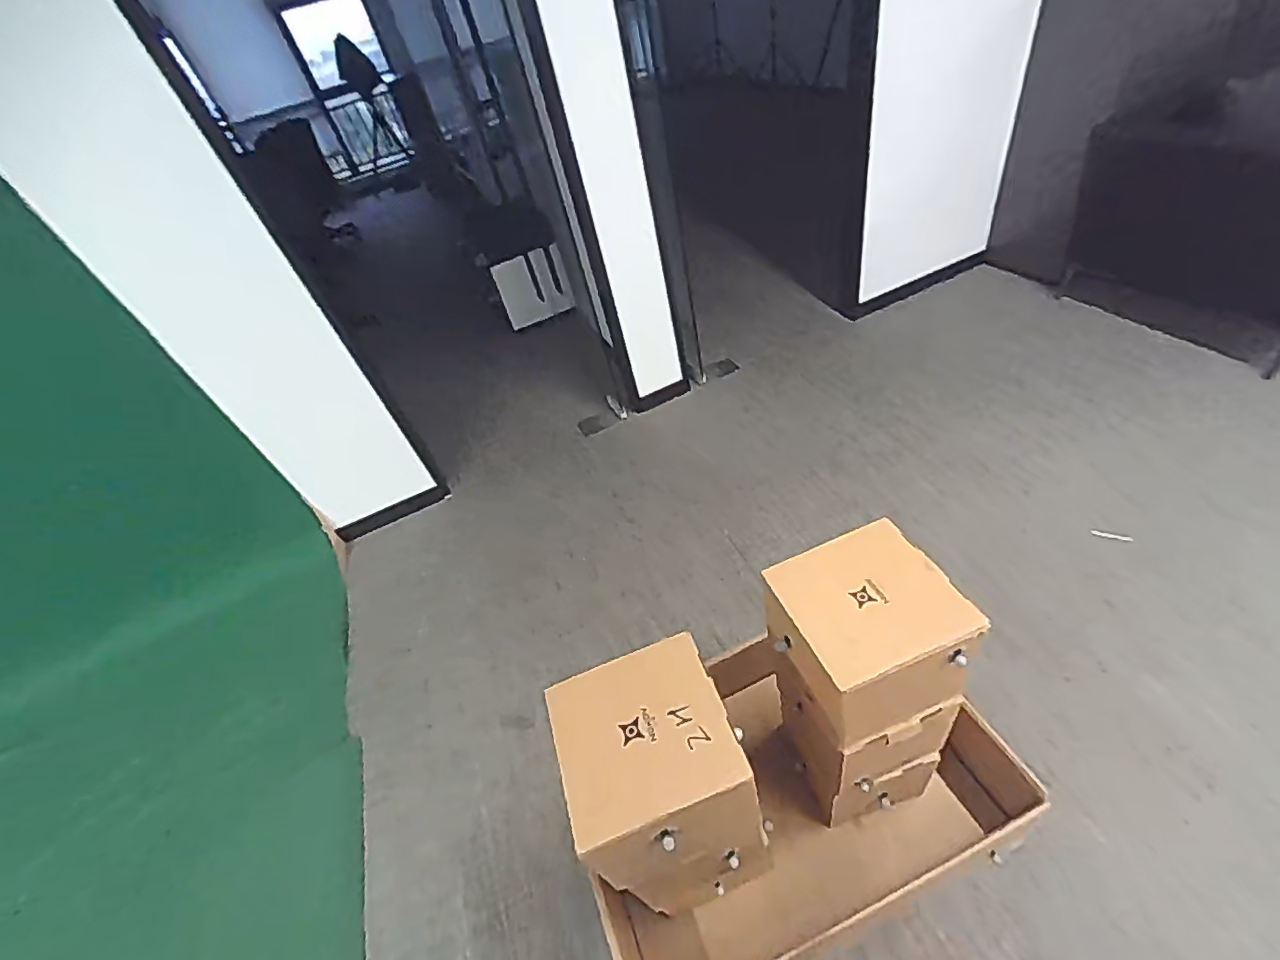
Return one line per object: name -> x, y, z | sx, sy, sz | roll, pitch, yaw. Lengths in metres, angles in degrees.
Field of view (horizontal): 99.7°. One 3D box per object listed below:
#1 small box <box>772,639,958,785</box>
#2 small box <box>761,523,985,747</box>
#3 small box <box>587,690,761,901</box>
small box -> 0.304, 0.302, 0.763 | 0.168, 0.176, 0.179 | -22, 43, -5
small box -> 0.266, 0.189, 0.652 | 0.179, 0.176, 0.168 | -22, 43, -6
small box -> 0.048, 0.421, 0.716 | 0.168, 0.176, 0.179 | -22, 43, -7
